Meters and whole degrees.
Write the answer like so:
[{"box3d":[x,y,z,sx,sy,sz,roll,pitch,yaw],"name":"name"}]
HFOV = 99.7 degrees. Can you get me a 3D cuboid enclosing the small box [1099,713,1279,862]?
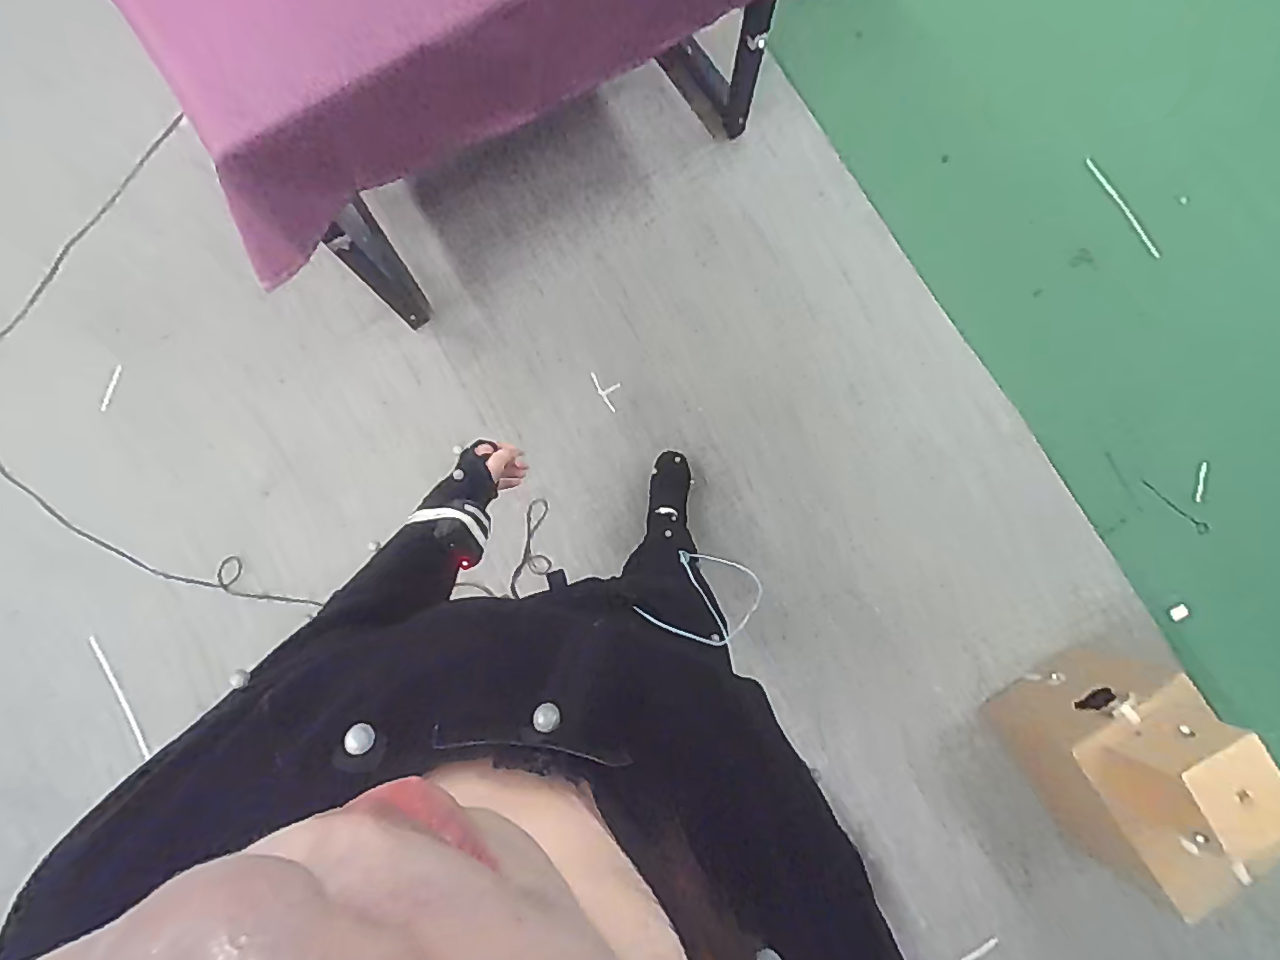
[{"box3d":[1.070,0.584,1.061,0.168,0.176,0.179,-27,85,-3],"name":"small box"}]
